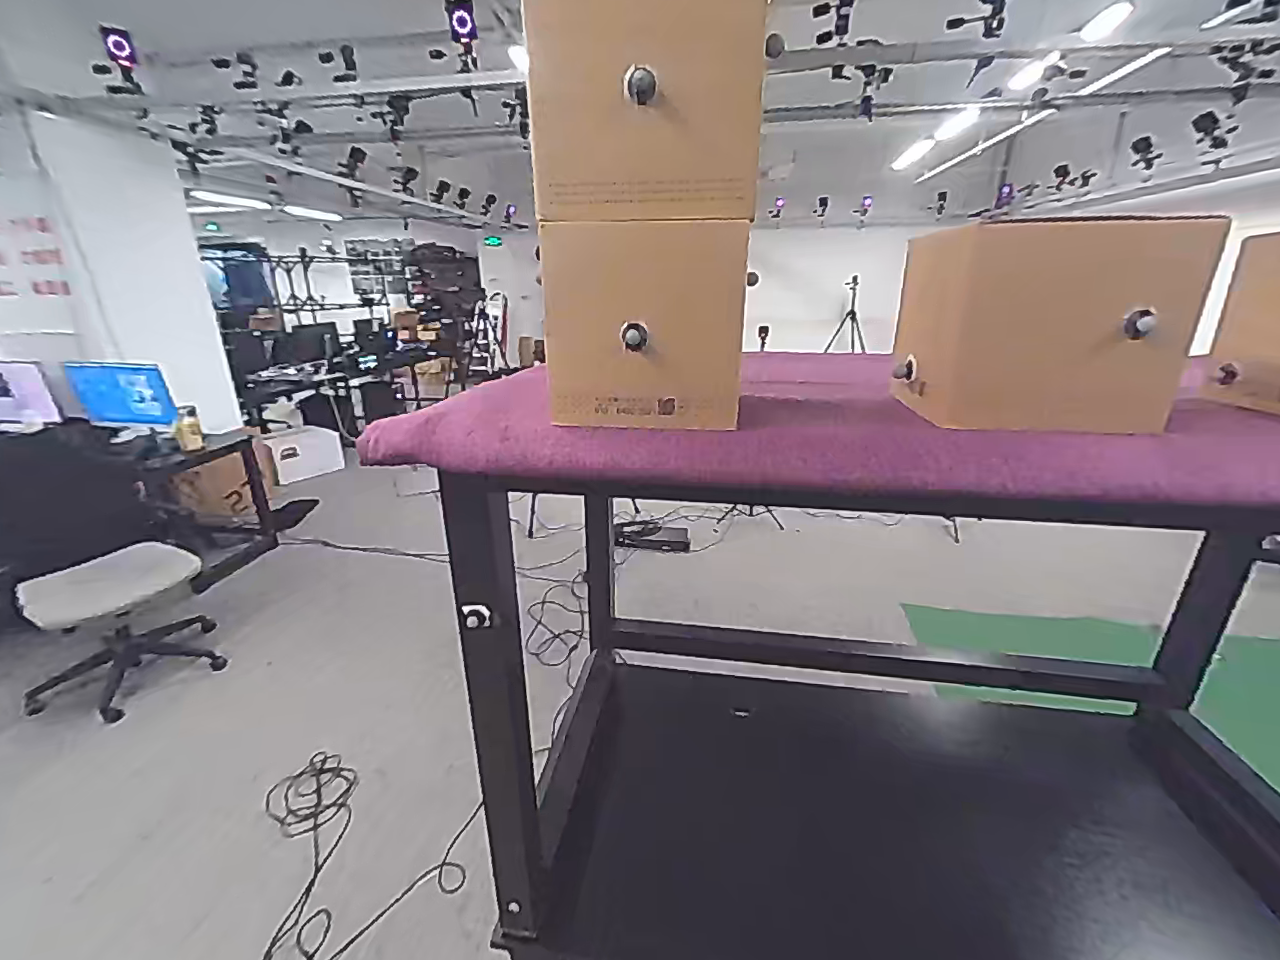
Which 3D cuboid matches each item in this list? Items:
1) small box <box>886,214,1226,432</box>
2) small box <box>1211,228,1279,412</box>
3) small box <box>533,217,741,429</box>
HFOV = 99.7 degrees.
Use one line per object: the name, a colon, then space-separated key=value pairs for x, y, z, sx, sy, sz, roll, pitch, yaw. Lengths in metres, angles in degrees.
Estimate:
small box: x=0.349 y=-0.143 z=0.500 sx=0.179 sy=0.176 sz=0.168 roll=1 pitch=20 yaw=7
small box: x=0.672 y=-0.141 z=0.477 sx=0.179 sy=0.176 sz=0.168 roll=3 pitch=18 yaw=10
small box: x=0.007 y=-0.150 z=0.518 sx=0.168 sy=0.176 sz=0.179 roll=3 pitch=21 yaw=6
